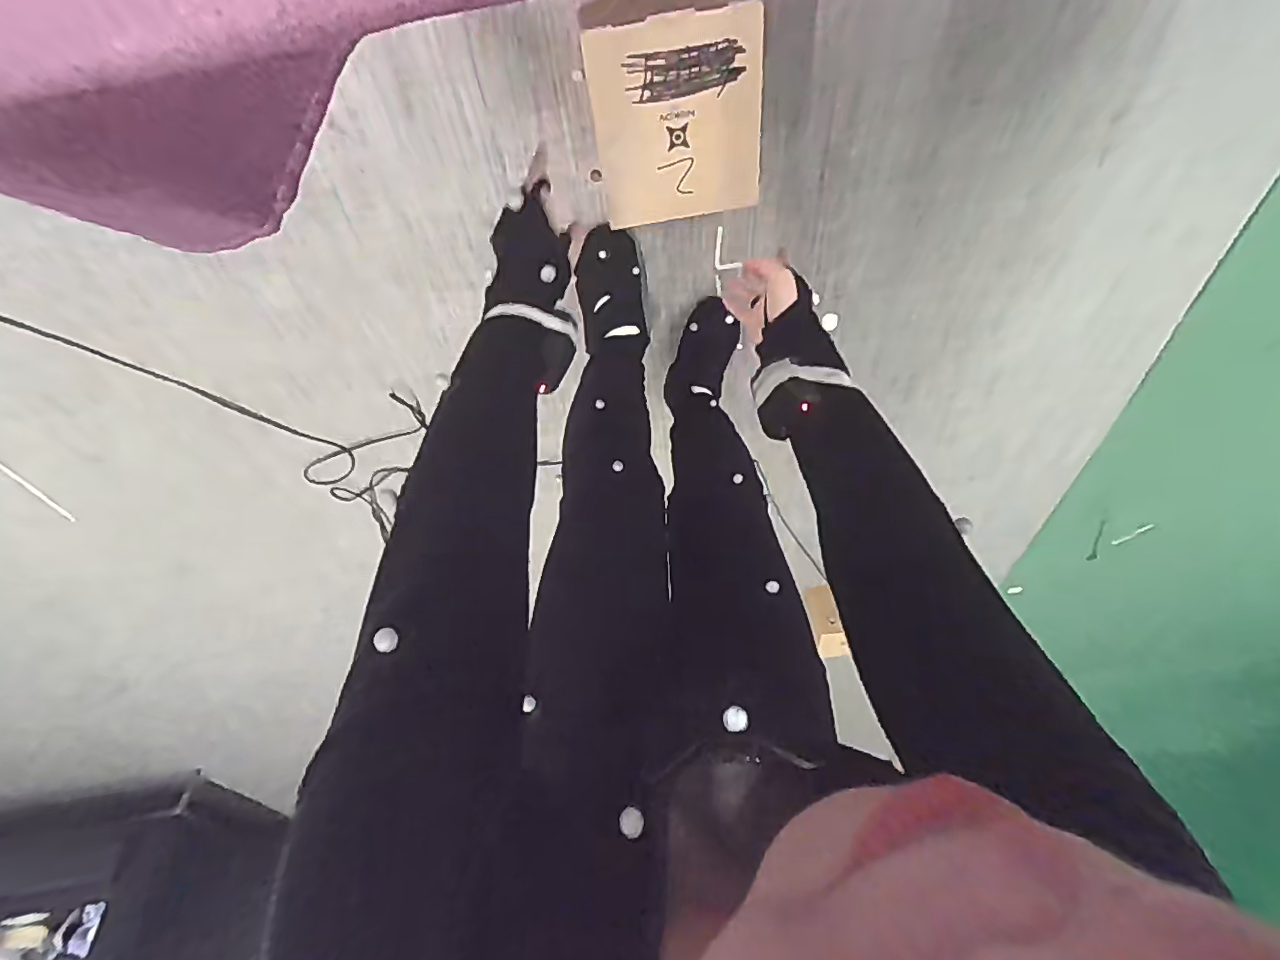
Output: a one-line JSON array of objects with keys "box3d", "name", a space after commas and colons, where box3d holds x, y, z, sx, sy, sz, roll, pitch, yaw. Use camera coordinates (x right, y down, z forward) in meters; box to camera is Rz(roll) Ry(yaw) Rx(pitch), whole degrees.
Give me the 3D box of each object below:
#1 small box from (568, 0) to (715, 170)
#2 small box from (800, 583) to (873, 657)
[{"box3d": [0.004, -0.534, 0.706, 0.168, 0.176, 0.179, -7, 135, 1], "name": "small box"}, {"box3d": [0.634, 0.458, 1.774, 0.179, 0.176, 0.168, -8, 136, 2], "name": "small box"}]
